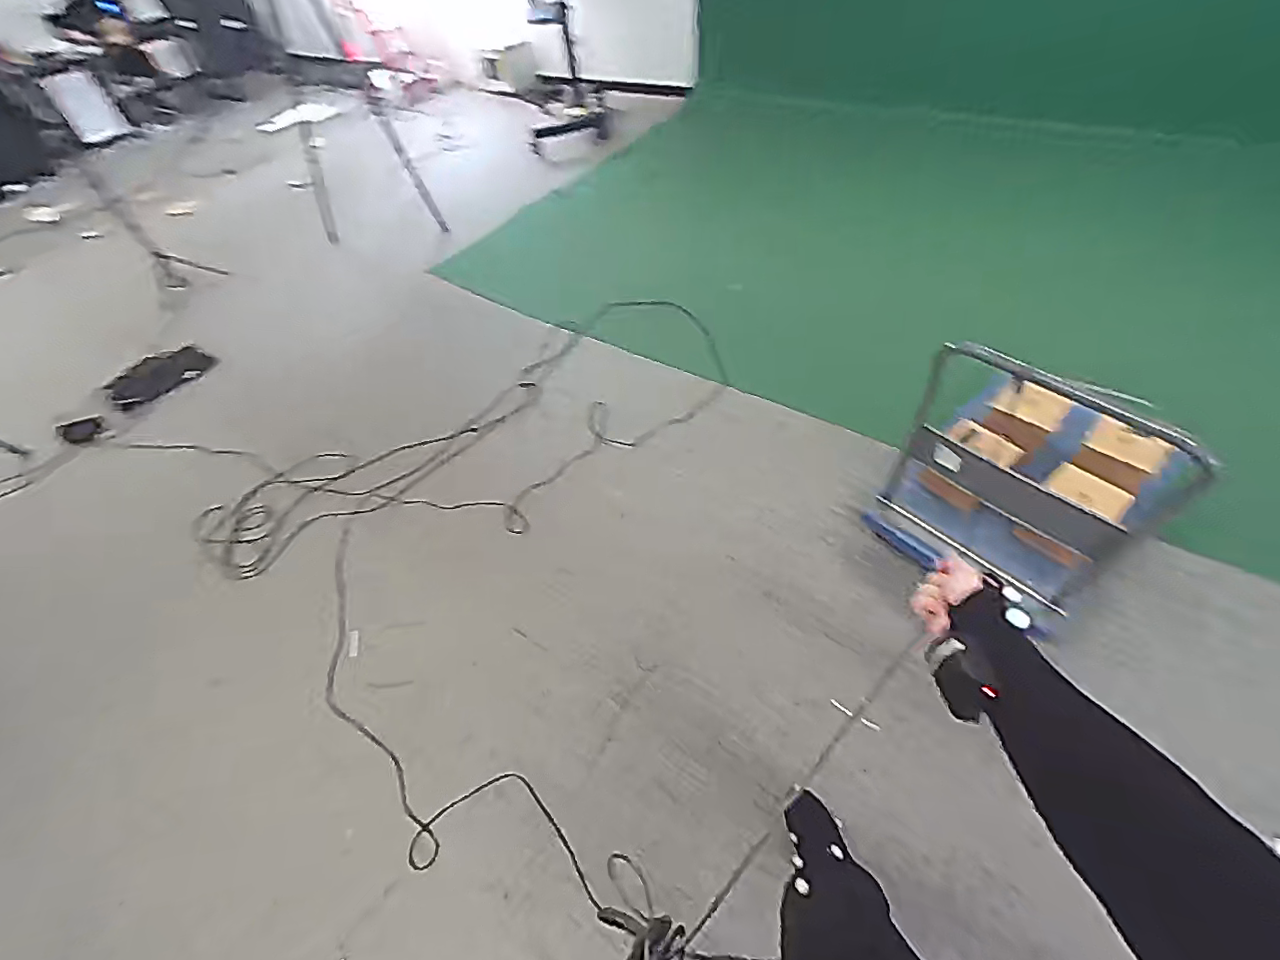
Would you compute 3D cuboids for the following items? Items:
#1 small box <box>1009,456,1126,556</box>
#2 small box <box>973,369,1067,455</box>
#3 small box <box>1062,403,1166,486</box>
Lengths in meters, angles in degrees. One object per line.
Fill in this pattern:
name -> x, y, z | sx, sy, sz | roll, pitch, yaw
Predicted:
small box -> 1.167, 0.072, 1.491 | 0.179, 0.176, 0.168 | -37, 56, -19
small box -> 1.188, -0.210, 1.707 | 0.168, 0.176, 0.179 | 36, 65, 30
small box -> 1.367, -0.086, 1.581 | 0.168, 0.176, 0.179 | 35, 65, 31
